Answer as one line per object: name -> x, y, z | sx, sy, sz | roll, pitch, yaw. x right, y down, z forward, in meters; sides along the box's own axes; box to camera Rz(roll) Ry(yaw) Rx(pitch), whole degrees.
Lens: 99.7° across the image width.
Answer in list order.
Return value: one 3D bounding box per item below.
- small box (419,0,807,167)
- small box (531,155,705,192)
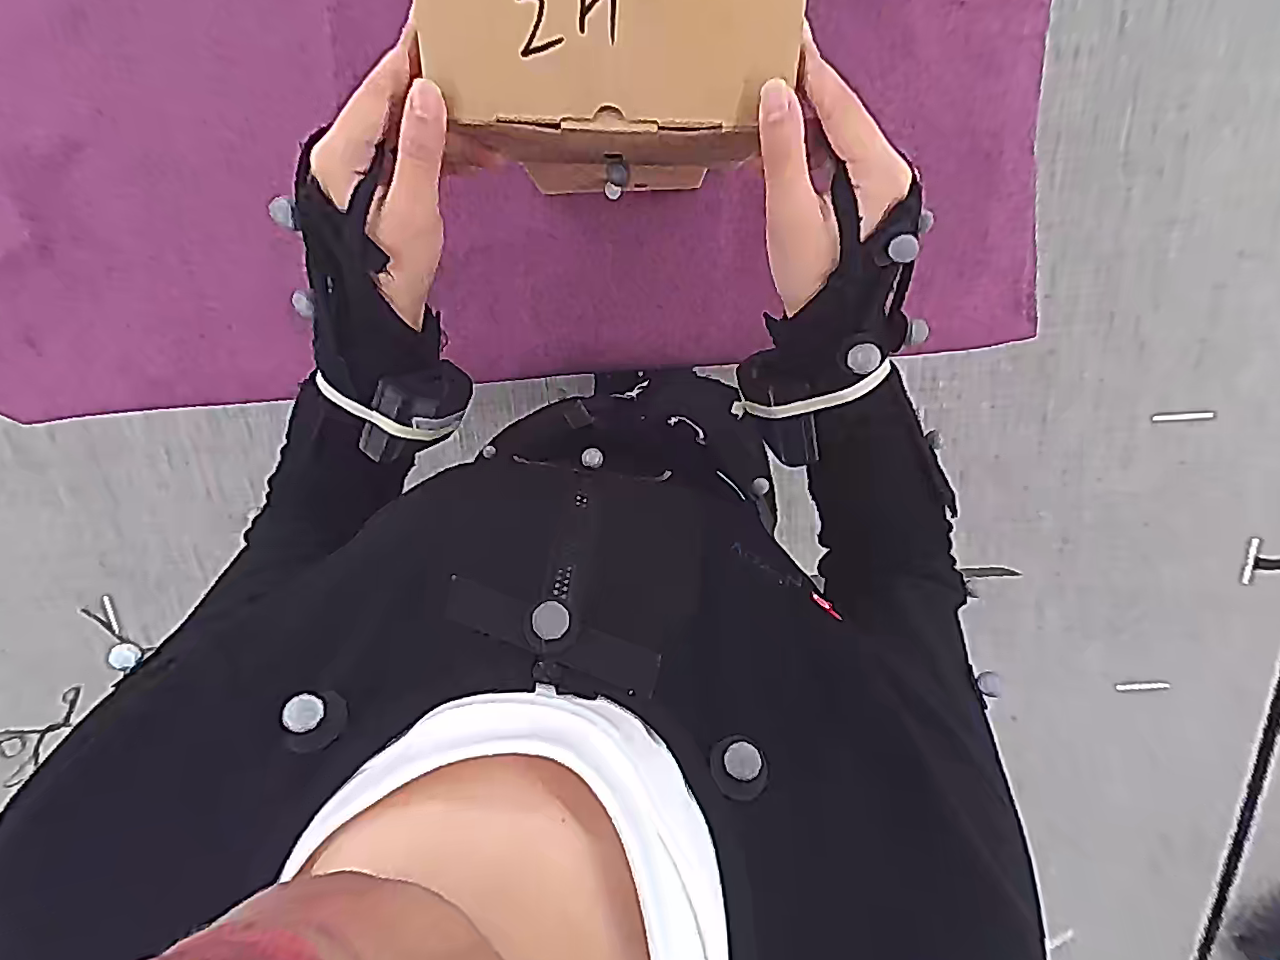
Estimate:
small box -> -0.008, -0.279, 0.282 | 0.168, 0.176, 0.179 | 2, 113, 0
small box -> -0.021, -0.363, 0.460 | 0.168, 0.176, 0.179 | -2, 106, 0
